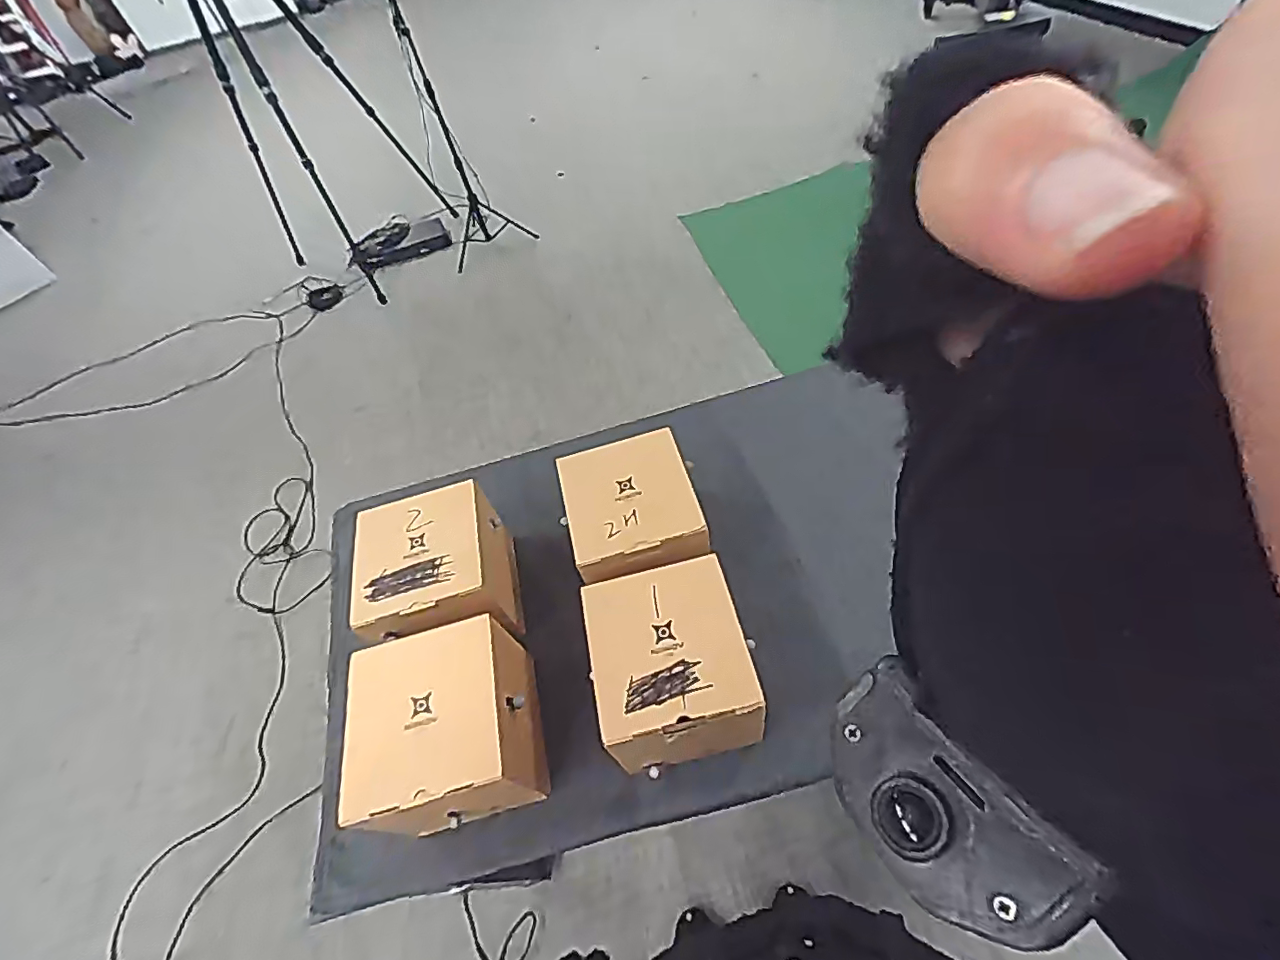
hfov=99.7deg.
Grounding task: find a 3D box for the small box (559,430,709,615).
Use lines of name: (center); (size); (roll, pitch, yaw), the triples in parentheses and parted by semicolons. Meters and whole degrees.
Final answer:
small box: (-0.006, 0.063, 0.762); (0.168, 0.176, 0.179); (-16, 53, -1)
